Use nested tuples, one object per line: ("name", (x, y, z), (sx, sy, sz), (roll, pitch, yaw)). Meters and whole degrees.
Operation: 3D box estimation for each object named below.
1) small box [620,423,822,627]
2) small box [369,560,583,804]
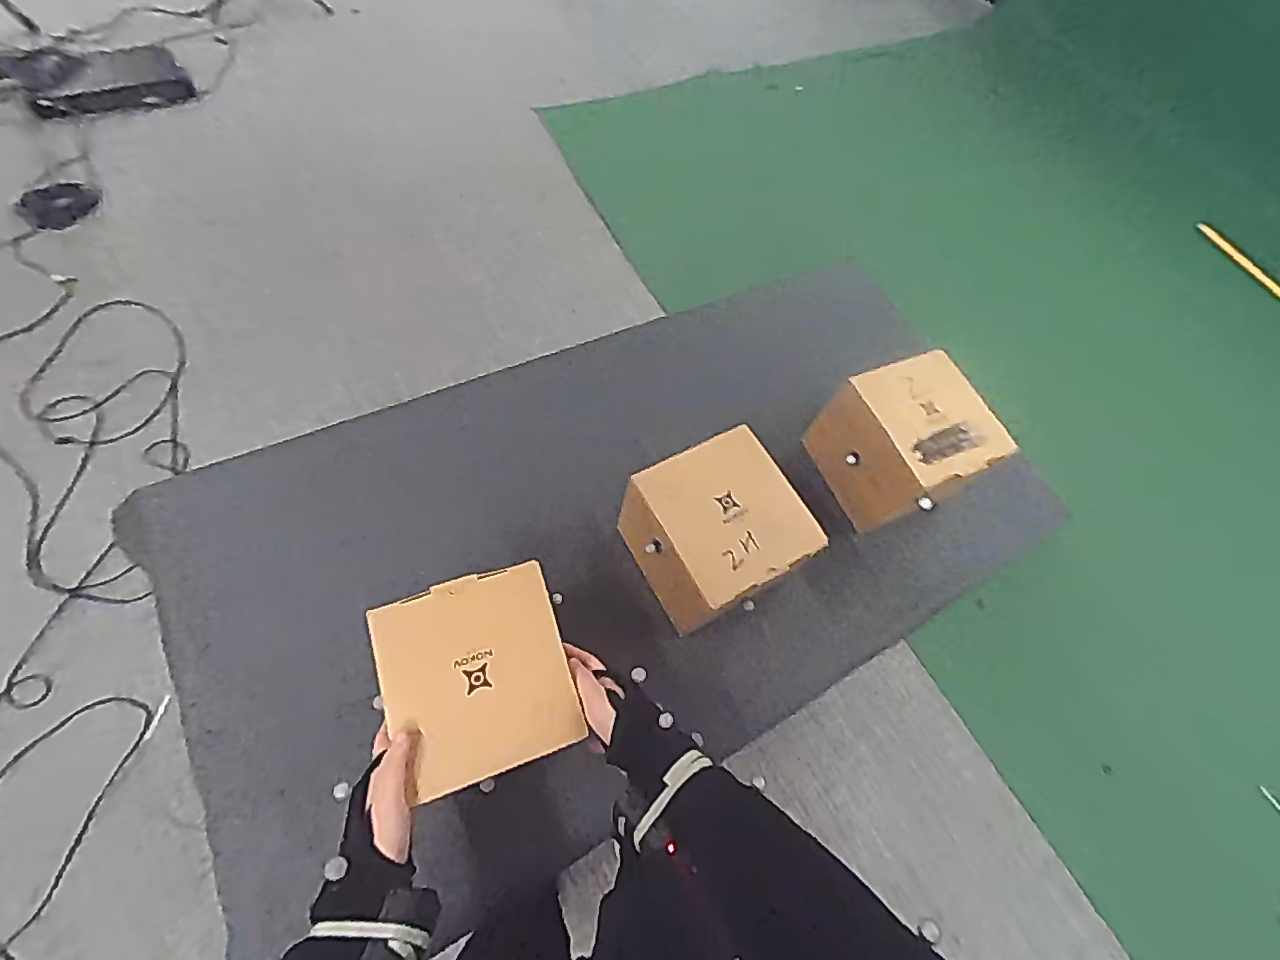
("small box", (0.086, 0.063, 0.688), (0.168, 0.176, 0.179), (-25, 71, -18))
("small box", (-0.162, 0.206, 0.572), (0.168, 0.176, 0.179), (-15, 70, -14))
